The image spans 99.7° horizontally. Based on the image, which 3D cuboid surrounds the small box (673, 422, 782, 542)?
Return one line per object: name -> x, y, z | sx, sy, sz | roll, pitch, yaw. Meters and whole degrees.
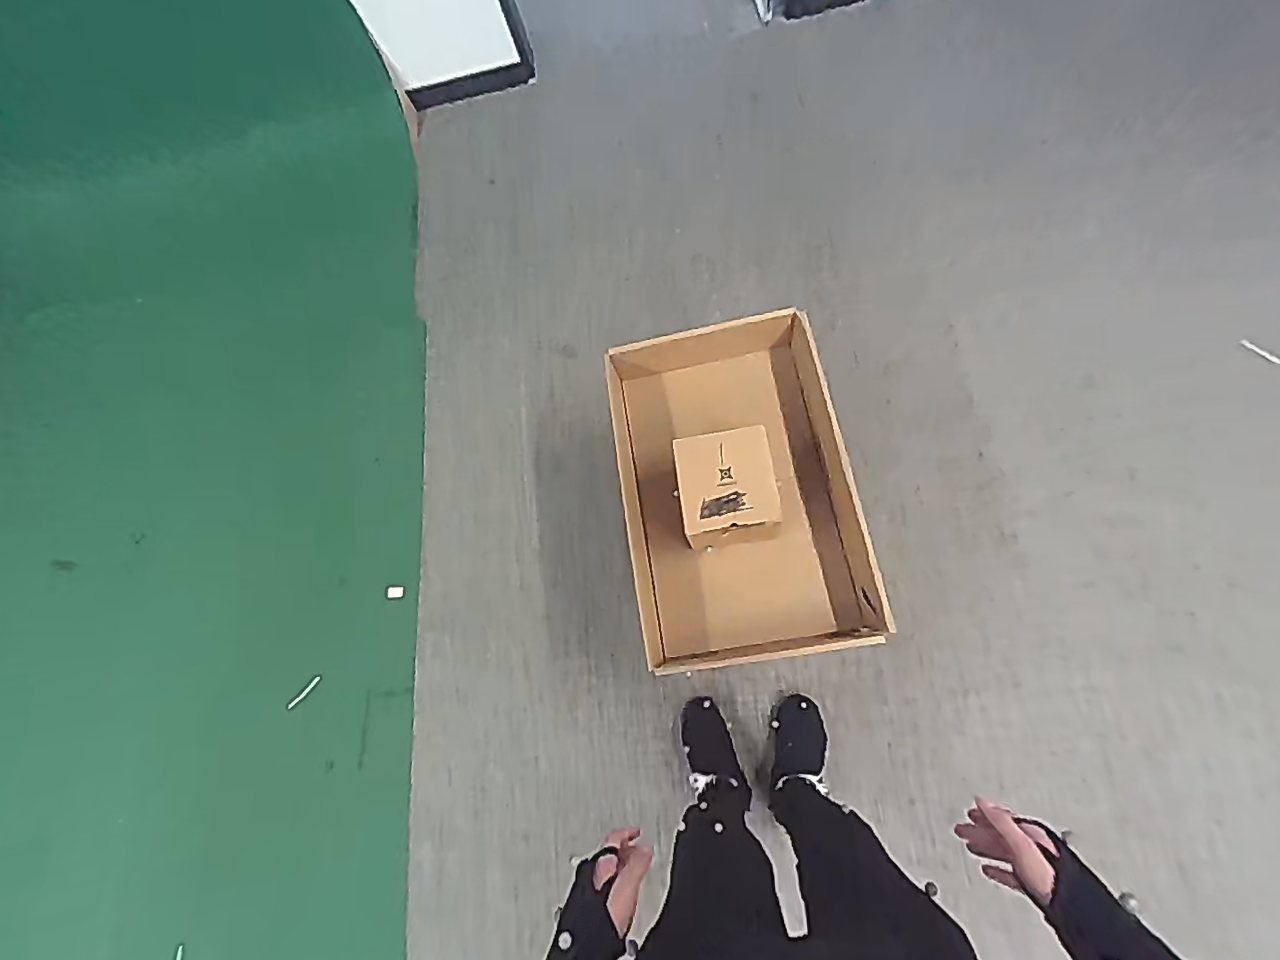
small box -> 0.159, 0.014, 0.995 | 0.168, 0.176, 0.179 | -9, 72, 7
